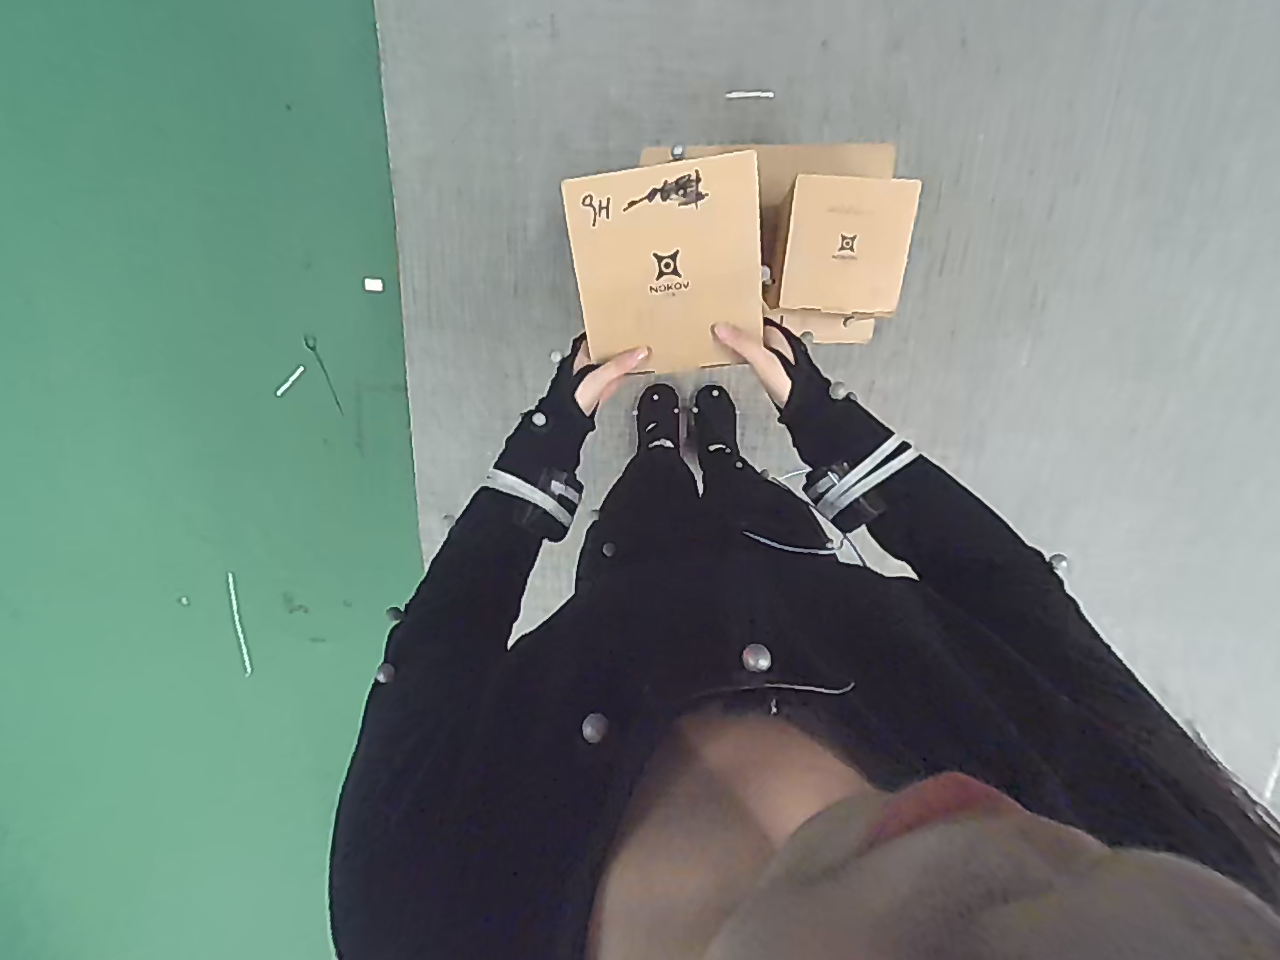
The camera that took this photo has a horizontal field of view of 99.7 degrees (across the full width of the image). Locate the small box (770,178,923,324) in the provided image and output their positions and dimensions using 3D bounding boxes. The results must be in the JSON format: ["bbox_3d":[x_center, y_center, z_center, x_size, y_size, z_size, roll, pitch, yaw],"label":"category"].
[{"bbox_3d":[0.295,-0.333,0.816,0.168,0.176,0.179,6,104,5],"label":"small box"}]

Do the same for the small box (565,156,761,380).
[{"bbox_3d":[0.036,-0.216,0.555,0.168,0.176,0.179,-4,115,9],"label":"small box"}]
